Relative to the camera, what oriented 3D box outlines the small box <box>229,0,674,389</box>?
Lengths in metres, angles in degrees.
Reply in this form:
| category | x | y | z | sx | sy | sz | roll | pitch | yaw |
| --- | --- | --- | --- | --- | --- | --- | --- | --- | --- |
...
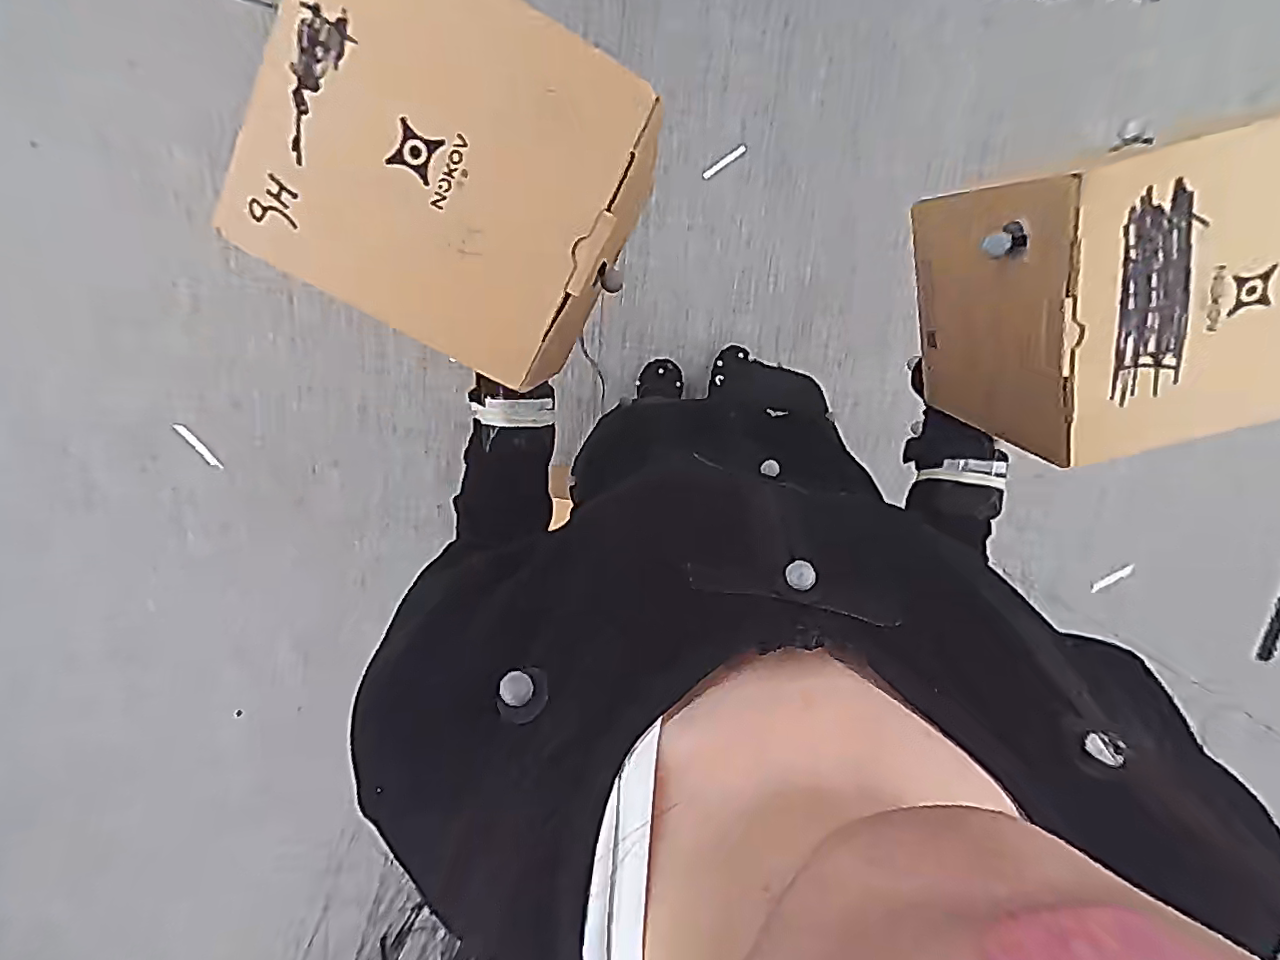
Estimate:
| category | x | y | z | sx | sy | sz | roll | pitch | yaw |
| --- | --- | --- | --- | --- | --- | --- | --- | --- | --- |
| small box | -0.097 | -0.179 | 0.345 | 0.179 | 0.176 | 0.168 | 27 | 103 | -8 |
